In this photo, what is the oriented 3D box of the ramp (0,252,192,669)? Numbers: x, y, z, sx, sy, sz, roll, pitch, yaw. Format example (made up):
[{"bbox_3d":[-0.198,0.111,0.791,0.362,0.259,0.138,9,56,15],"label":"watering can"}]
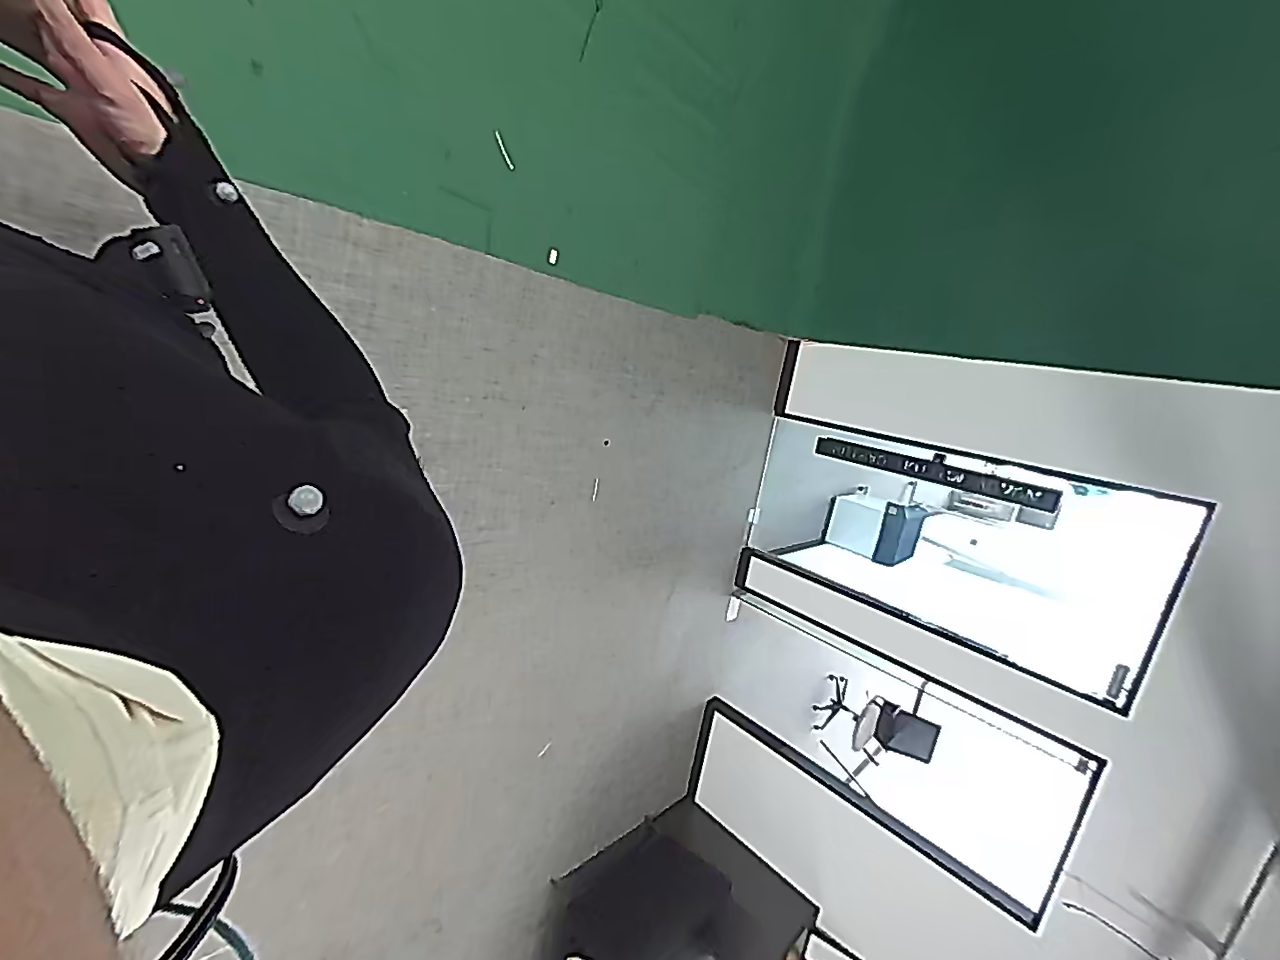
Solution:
[{"bbox_3d":[-1.332,0.008,1.222,0.509,0.206,0.991,-6,111,-46],"label":"ramp"}]
